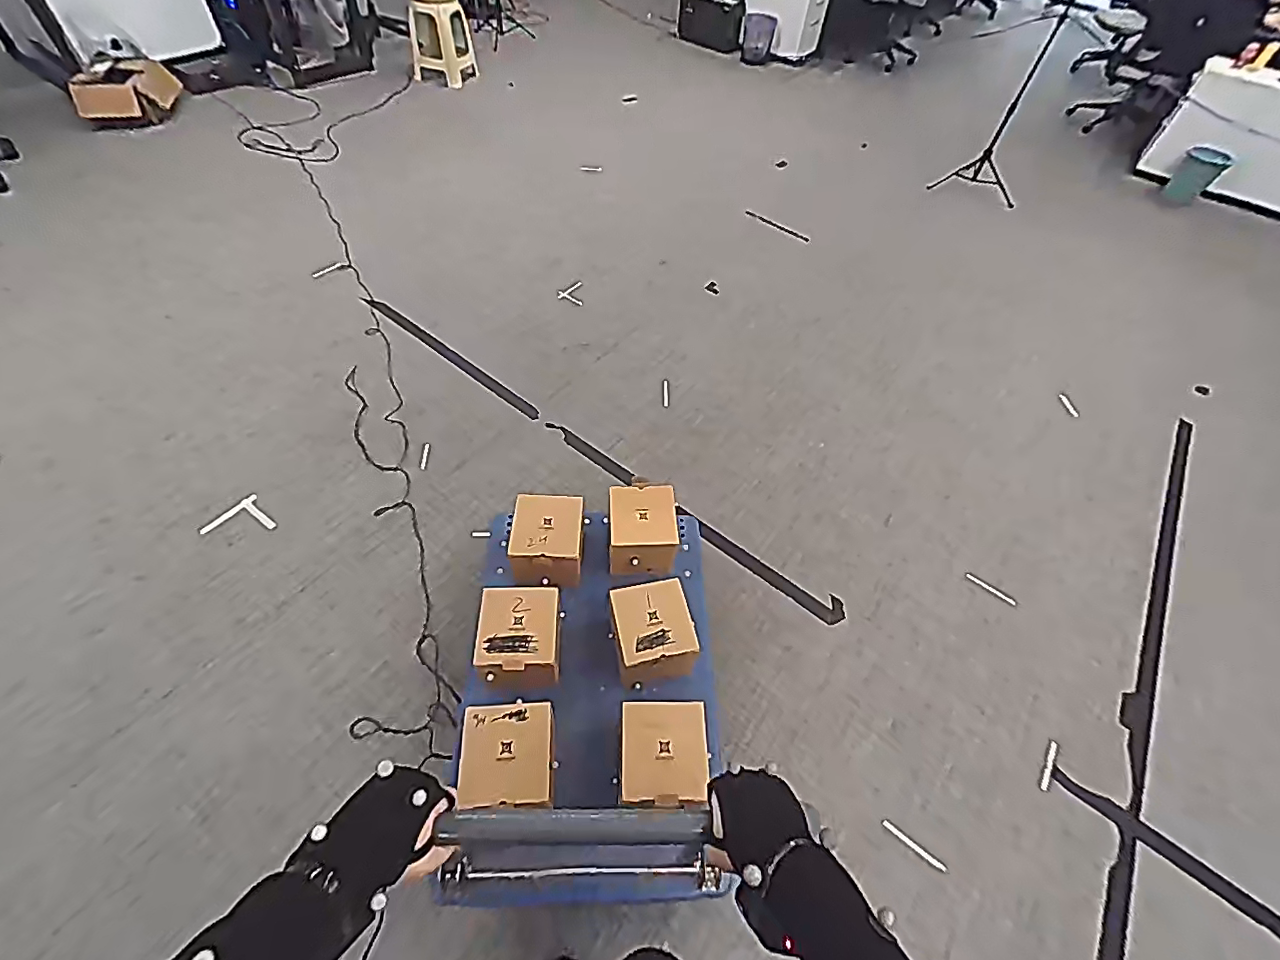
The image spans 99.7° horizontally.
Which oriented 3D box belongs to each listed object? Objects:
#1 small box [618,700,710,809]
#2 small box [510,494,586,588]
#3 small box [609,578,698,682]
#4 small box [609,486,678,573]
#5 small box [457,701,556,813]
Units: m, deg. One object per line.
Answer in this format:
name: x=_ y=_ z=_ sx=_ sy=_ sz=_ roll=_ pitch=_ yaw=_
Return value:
small box: x=0.042 y=0.561 z=1.099 sx=0.168 sy=0.176 sz=0.179 roll=2 pitch=53 yaw=-4
small box: x=-0.228 y=0.156 z=1.373 sx=0.168 sy=0.176 sz=0.179 roll=3 pitch=54 yaw=-3
small box: x=0.024 y=0.353 z=1.251 sx=0.168 sy=0.176 sz=0.179 roll=-8 pitch=54 yaw=-11
small box: x=0.003 y=0.134 z=1.412 sx=0.168 sy=0.176 sz=0.179 roll=-1 pitch=53 yaw=-5
small box: x=-0.255 y=0.554 z=1.074 sx=0.168 sy=0.176 sz=0.179 roll=0 pitch=54 yaw=-7
